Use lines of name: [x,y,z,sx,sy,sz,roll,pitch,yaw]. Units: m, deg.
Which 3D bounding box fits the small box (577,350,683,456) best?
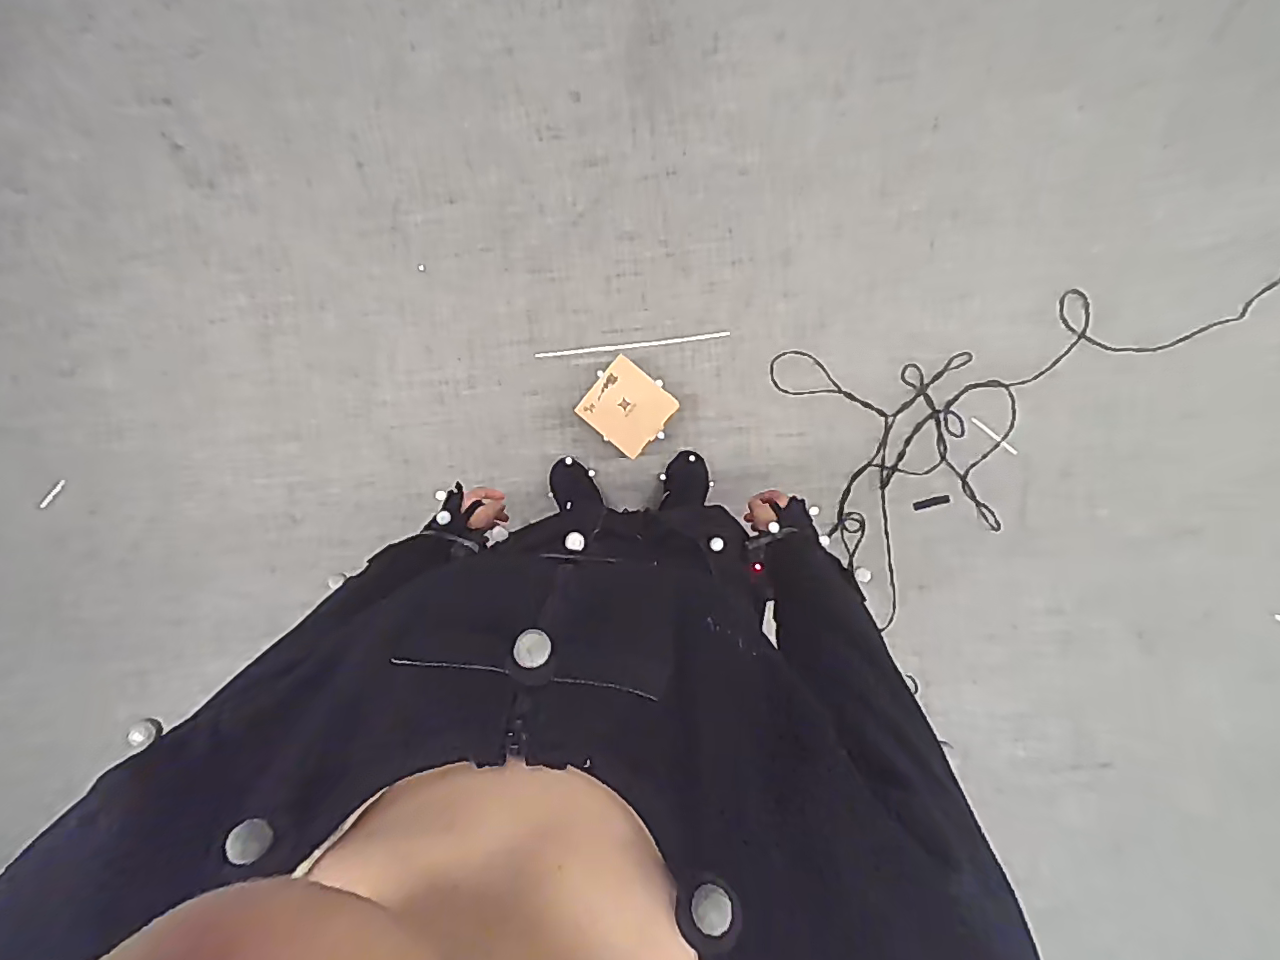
small box: [-0.018,-0.177,1.254,0.179,0.176,0.168,40,96,-2]
